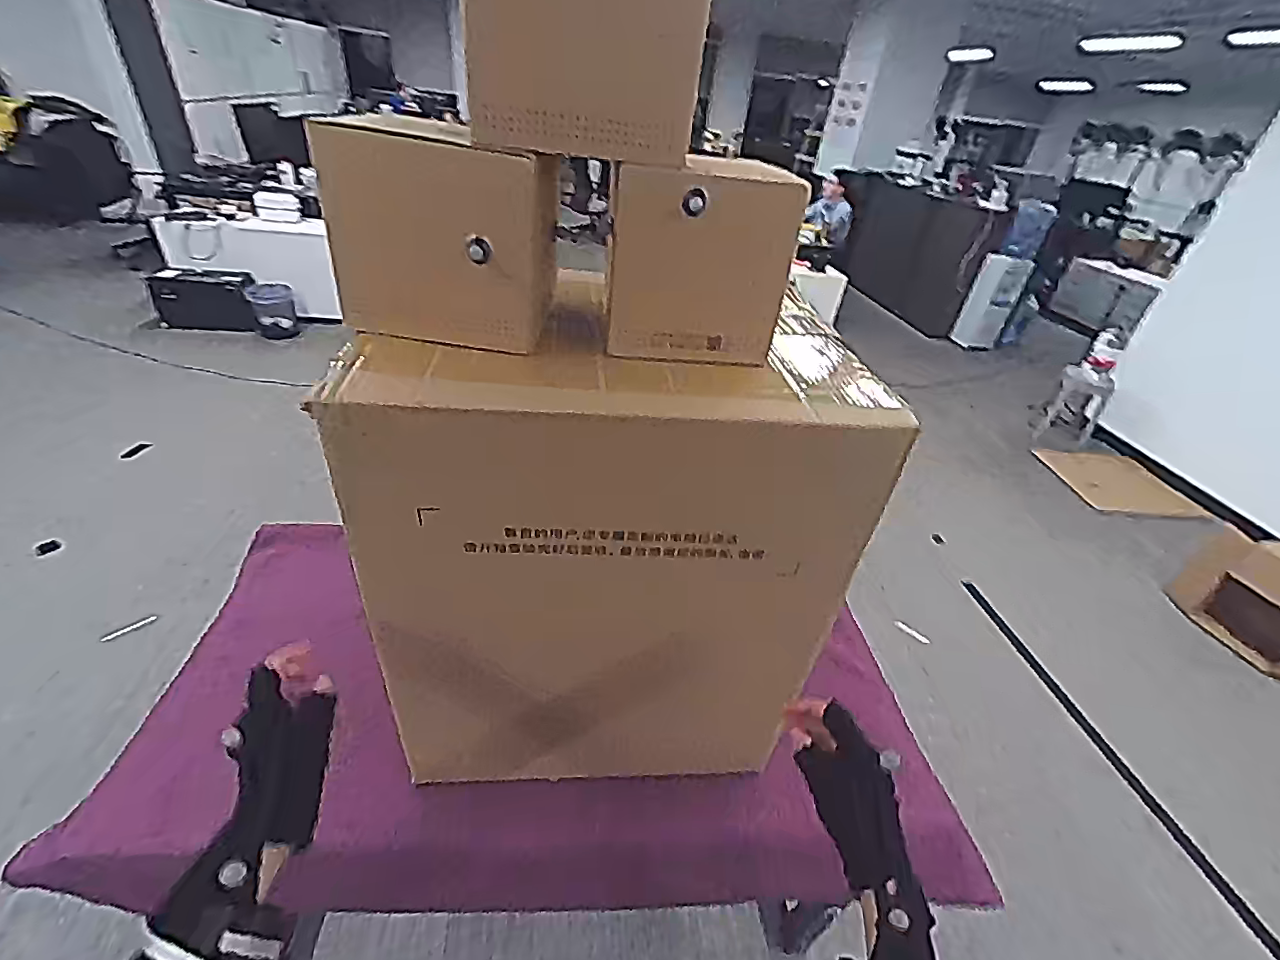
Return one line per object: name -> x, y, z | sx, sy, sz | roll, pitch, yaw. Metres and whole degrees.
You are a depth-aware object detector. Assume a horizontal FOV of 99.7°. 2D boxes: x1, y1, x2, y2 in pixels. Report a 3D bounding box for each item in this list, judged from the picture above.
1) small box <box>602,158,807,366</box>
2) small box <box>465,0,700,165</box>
small box -> 0.048, -0.234, 0.565 | 0.168, 0.176, 0.179 | 1, 34, -7
small box -> -0.050, -0.373, 0.457 | 0.179, 0.176, 0.168 | 1, 35, -10
